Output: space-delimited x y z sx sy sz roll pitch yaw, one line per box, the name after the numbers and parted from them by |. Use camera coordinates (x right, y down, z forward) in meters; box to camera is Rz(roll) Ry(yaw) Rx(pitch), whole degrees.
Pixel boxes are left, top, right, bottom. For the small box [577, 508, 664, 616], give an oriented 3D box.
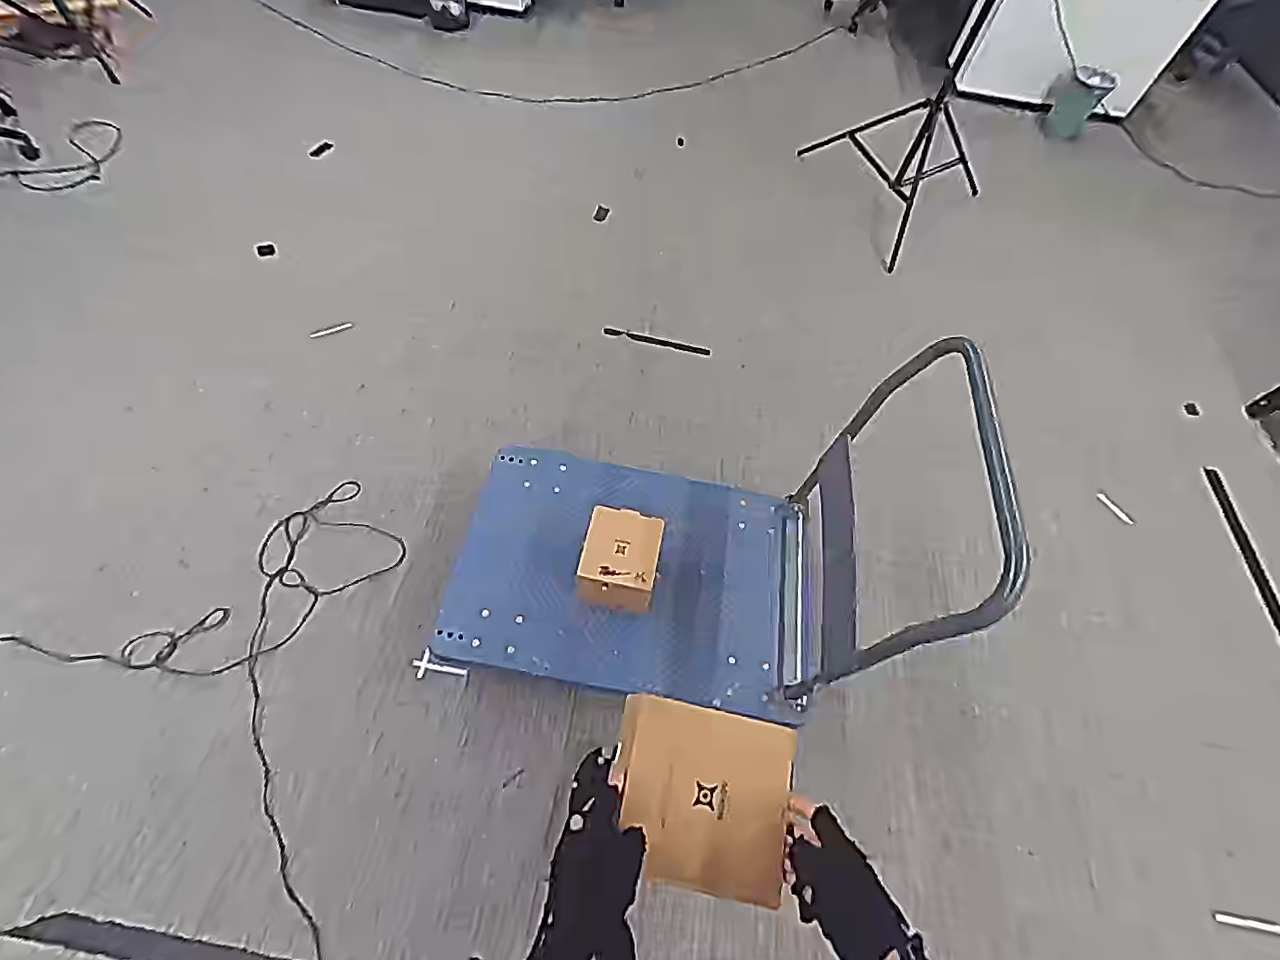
-0.049 0.193 1.255 0.168 0.176 0.179 12 58 2 | small box

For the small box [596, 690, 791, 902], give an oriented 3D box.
0.054 0.351 0.630 0.179 0.176 0.168 14 65 -2 | small box
